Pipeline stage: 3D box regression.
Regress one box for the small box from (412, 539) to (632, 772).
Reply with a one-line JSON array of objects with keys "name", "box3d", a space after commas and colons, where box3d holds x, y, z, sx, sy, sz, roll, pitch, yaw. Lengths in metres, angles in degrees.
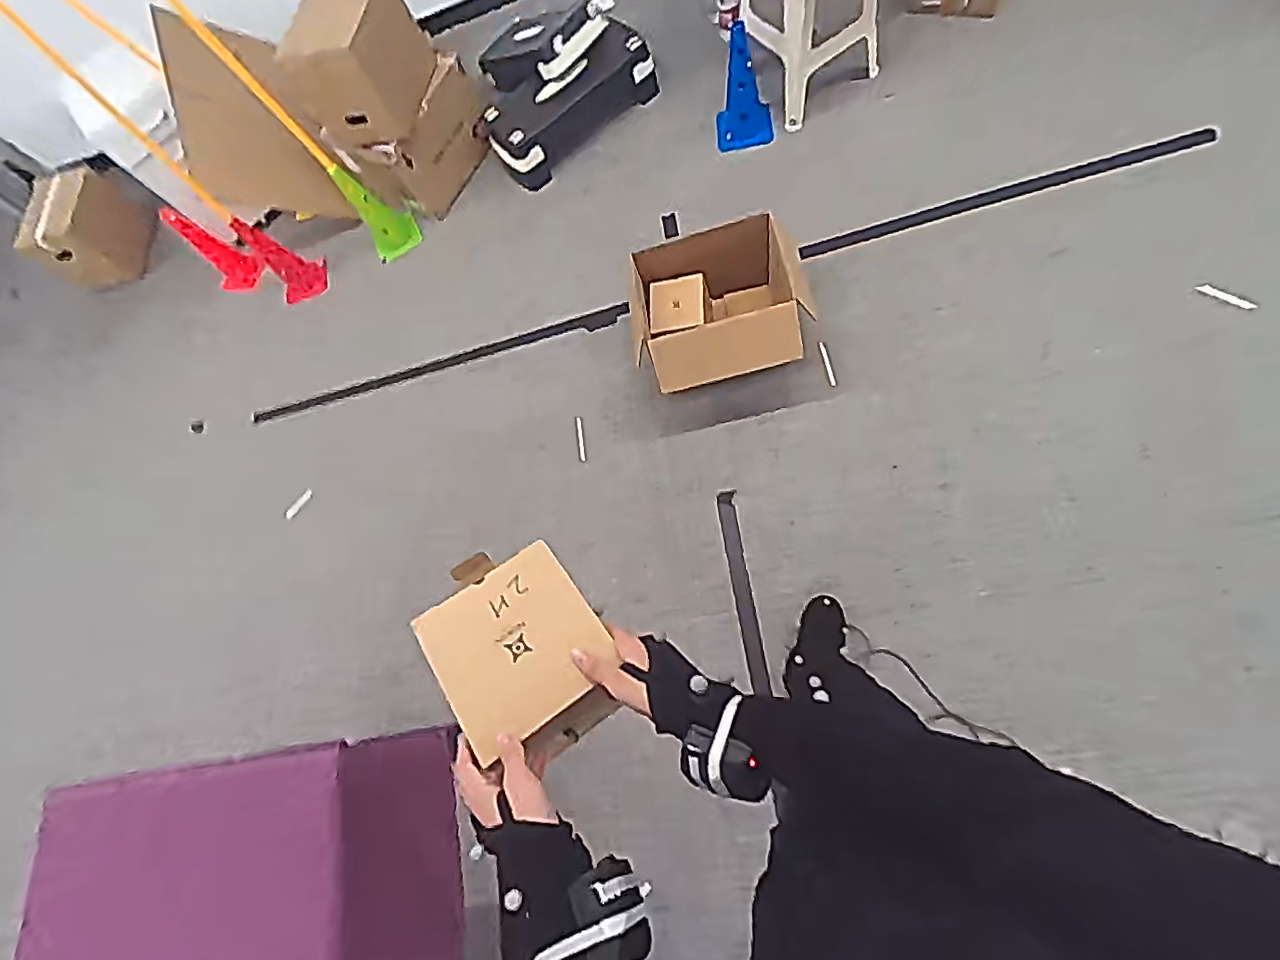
[{"name": "small box", "box3d": [-0.122, 0.206, 0.617, 0.168, 0.176, 0.179, -32, 61, -16]}]
